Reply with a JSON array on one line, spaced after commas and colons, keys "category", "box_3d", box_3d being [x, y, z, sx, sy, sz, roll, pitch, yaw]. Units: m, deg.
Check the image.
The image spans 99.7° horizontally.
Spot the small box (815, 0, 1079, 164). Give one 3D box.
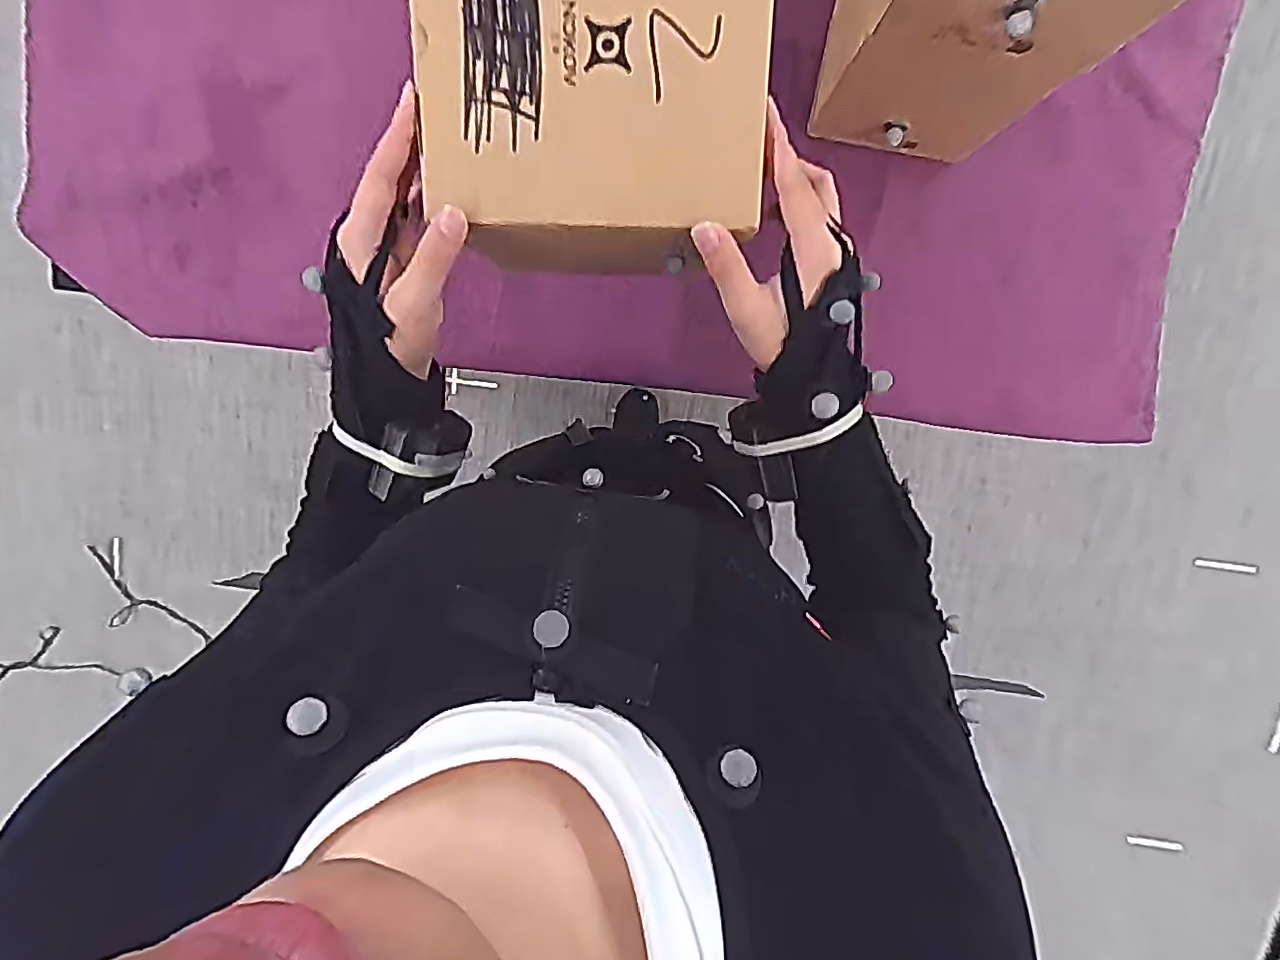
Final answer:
[{"category": "small box", "box_3d": [0.271, -0.418, 0.476, 0.168, 0.176, 0.179, 11, 100, 0]}]

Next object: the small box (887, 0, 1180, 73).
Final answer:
[{"category": "small box", "box_3d": [0.270, -0.391, 0.313, 0.168, 0.176, 0.179, 11, 100, 0]}]

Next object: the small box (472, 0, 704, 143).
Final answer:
[{"category": "small box", "box_3d": [-0.032, -0.432, 0.484, 0.179, 0.176, 0.168, 7, 99, 0]}]
